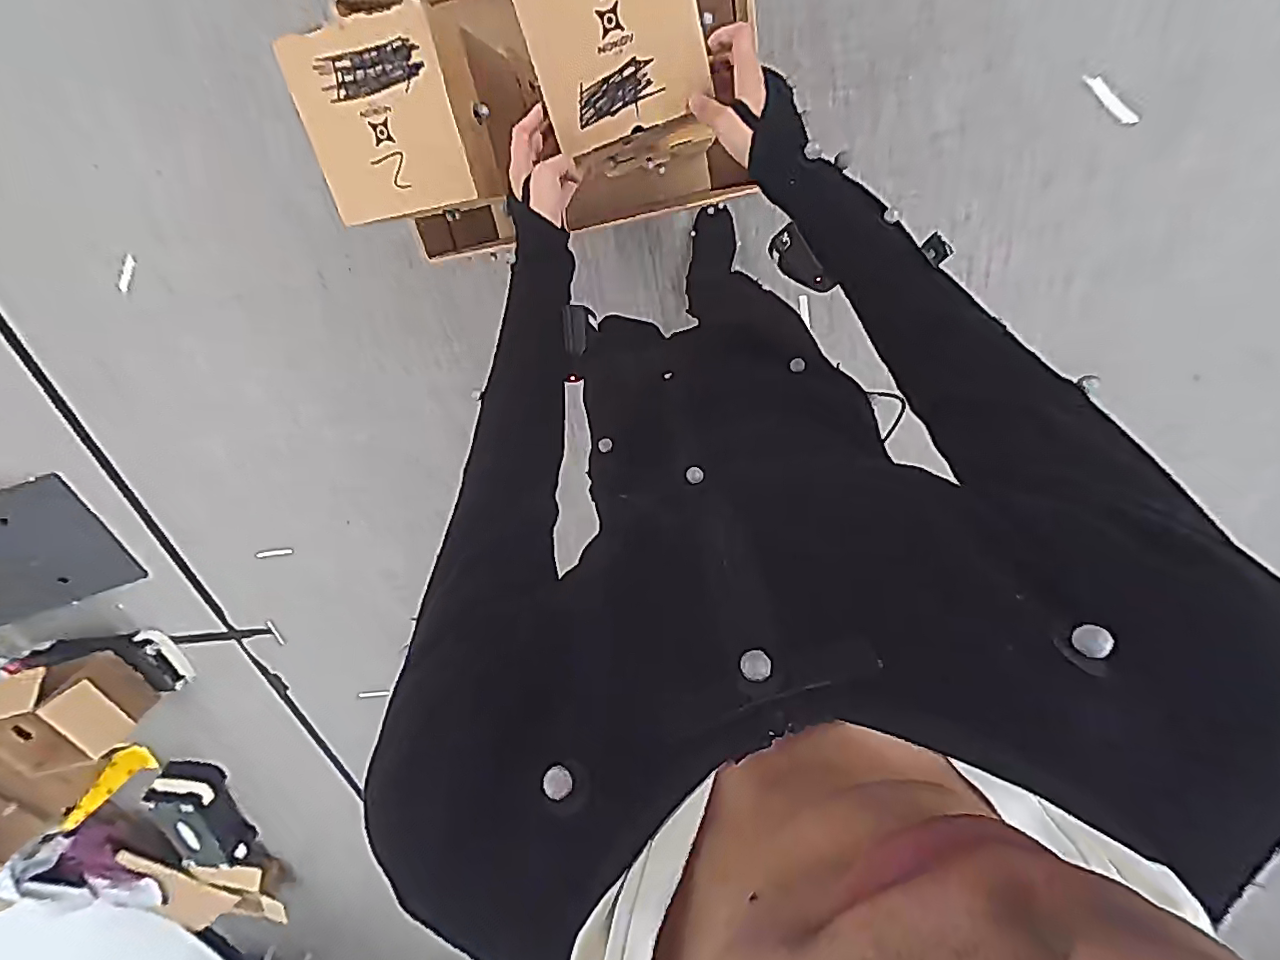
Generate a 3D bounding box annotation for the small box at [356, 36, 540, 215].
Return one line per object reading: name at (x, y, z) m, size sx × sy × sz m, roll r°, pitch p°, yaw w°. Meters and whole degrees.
small box at (-0.259, -0.491, 0.777) m, size 0.168 × 0.176 × 0.179 m, roll -7°, pitch 117°, yaw 10°

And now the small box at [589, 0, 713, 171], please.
small box at (0.000, -0.534, 0.729) m, size 0.168 × 0.176 × 0.179 m, roll -10°, pitch 118°, yaw 11°

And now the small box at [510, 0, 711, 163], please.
small box at (-0.023, -0.463, 0.582) m, size 0.168 × 0.176 × 0.179 m, roll -14°, pitch 117°, yaw 12°
